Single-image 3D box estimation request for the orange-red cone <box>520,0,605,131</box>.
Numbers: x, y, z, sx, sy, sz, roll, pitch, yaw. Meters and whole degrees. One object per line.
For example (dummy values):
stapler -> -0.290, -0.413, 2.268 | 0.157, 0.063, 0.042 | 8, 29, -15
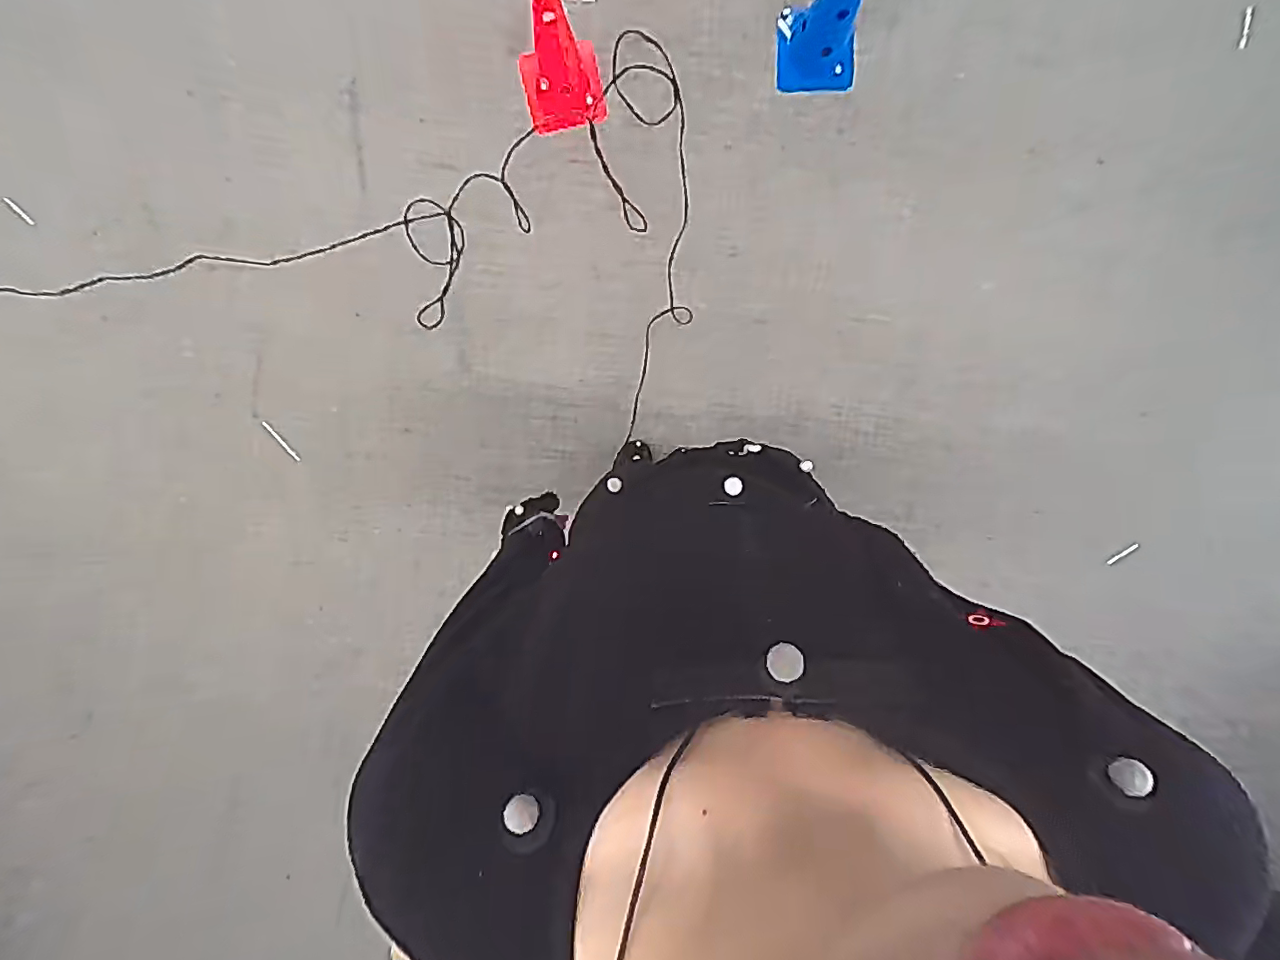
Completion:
orange-red cone -> -0.196, -1.000, 1.224 | 0.198, 0.360, 0.199 | -13, 94, 0
